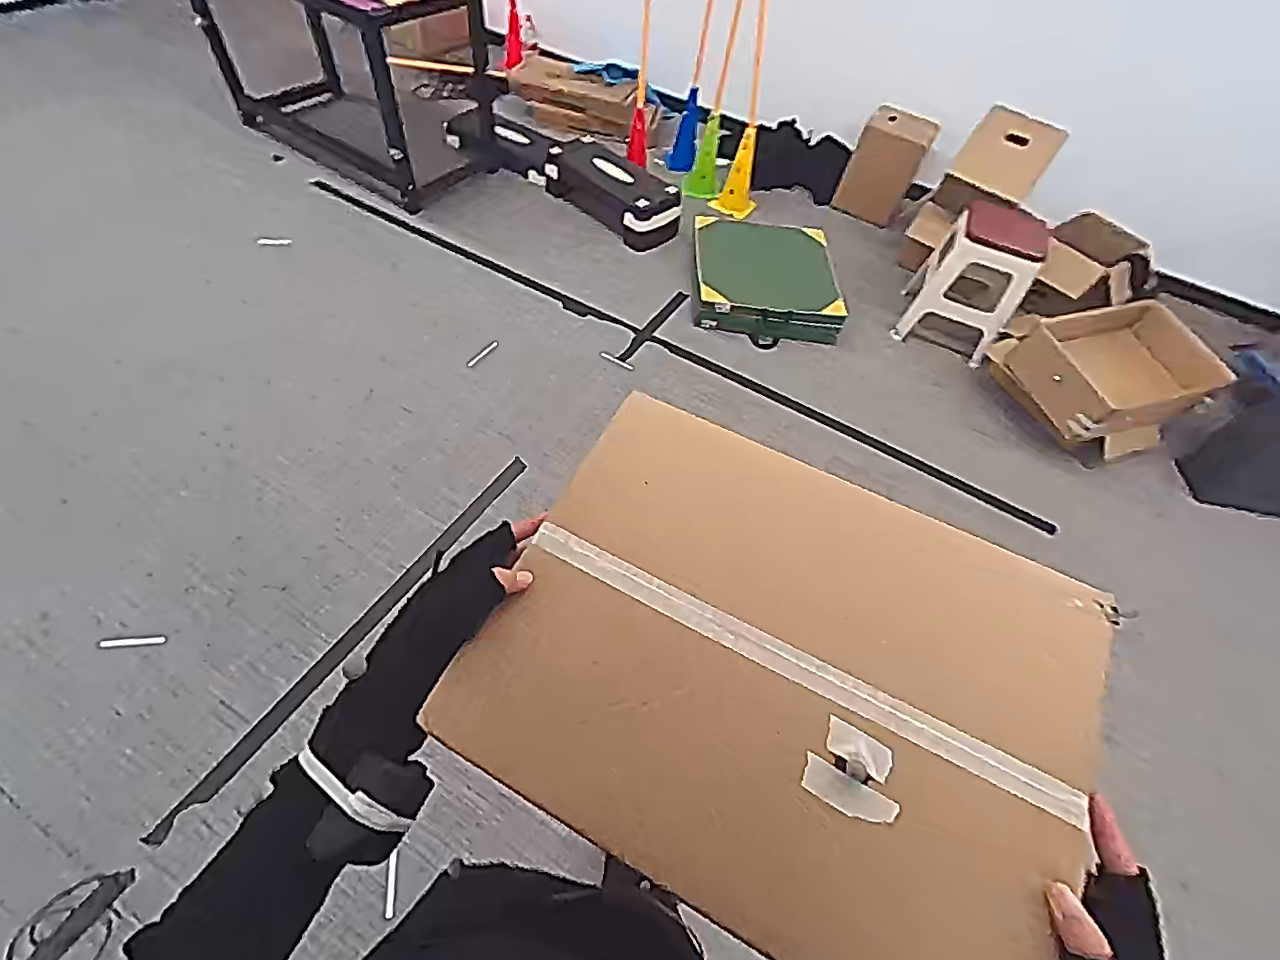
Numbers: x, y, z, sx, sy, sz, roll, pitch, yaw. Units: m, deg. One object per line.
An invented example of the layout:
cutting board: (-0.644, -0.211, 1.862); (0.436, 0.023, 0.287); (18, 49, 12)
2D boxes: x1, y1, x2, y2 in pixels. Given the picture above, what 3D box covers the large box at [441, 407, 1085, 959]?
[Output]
large box: (0.100, 0.196, 0.531); (0.408, 0.320, 0.320); (25, 66, 13)
